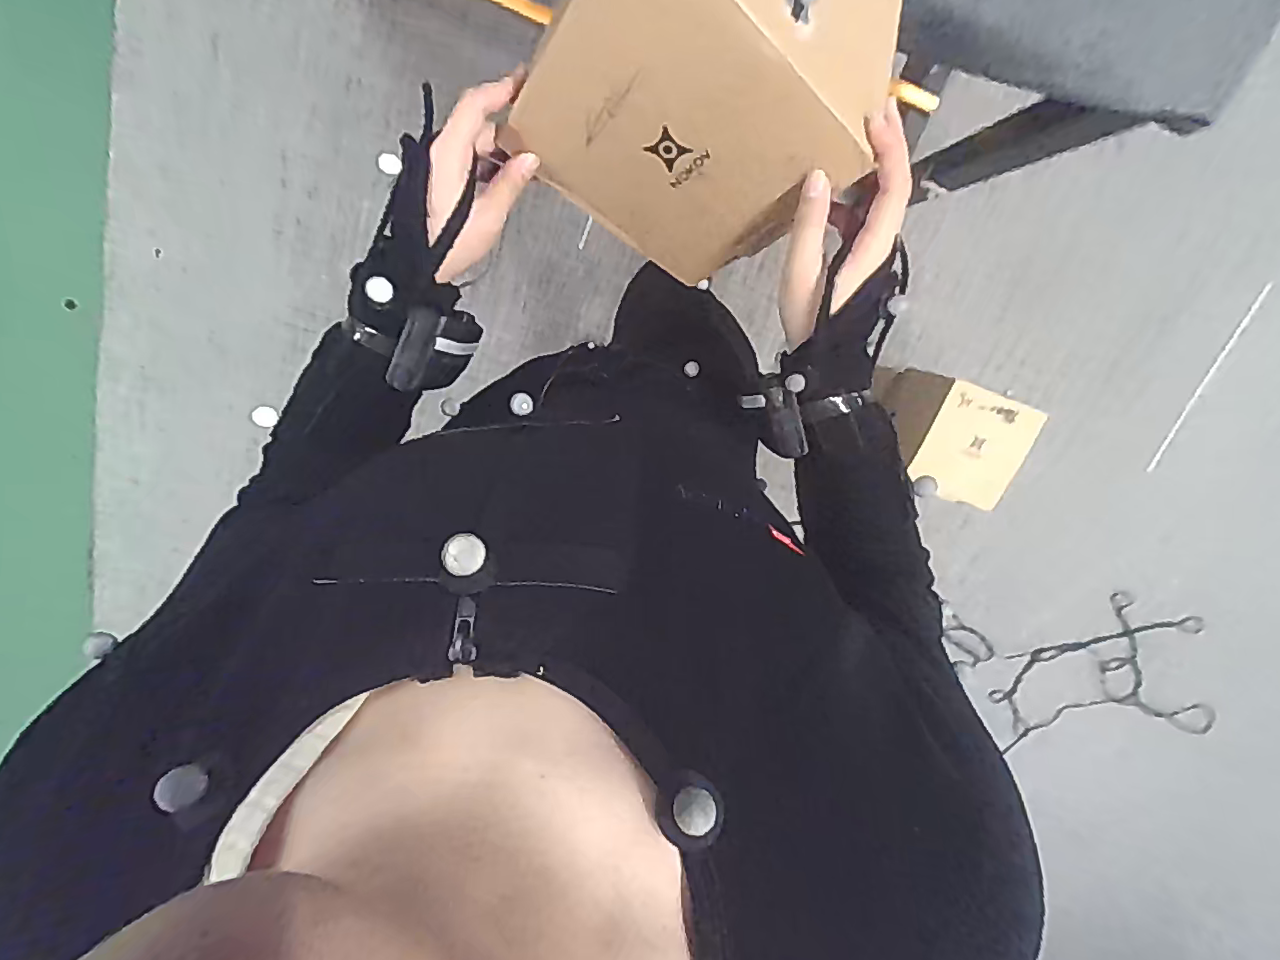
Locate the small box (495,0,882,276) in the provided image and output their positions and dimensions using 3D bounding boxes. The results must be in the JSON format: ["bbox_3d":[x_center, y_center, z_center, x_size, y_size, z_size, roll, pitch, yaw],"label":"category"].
[{"bbox_3d":[0.037,-0.279,0.352,0.179,0.168,0.176,25,67,-29],"label":"small box"}]

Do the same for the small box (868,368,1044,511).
[{"bbox_3d":[0.520,-0.076,0.926,0.168,0.176,0.179,19,107,-7],"label":"small box"}]

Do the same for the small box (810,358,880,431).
[{"bbox_3d":[0.523,-0.173,1.240,0.179,0.176,0.168,20,106,-7],"label":"small box"}]

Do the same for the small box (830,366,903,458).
[{"bbox_3d":[0.512,-0.123,1.083,0.179,0.176,0.168,18,107,-7],"label":"small box"}]
